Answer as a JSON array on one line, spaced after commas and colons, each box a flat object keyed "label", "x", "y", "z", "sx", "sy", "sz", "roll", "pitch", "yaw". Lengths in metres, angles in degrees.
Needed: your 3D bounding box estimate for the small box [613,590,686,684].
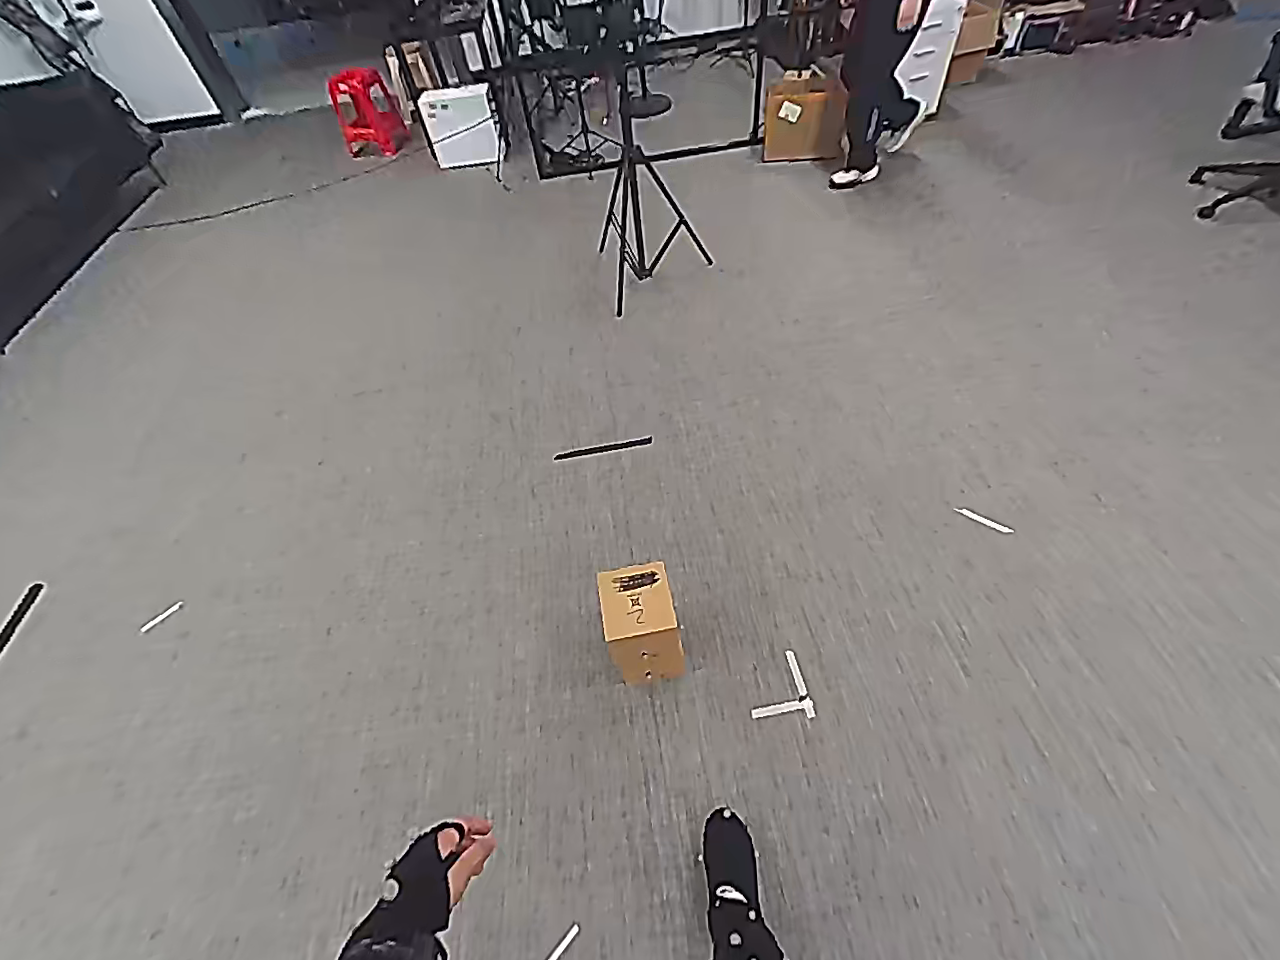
[{"label": "small box", "x": 0.025, "y": 0.422, "z": 1.444, "sx": 0.168, "sy": 0.176, "sz": 0.179, "roll": -11, "pitch": 51, "yaw": -1}]
